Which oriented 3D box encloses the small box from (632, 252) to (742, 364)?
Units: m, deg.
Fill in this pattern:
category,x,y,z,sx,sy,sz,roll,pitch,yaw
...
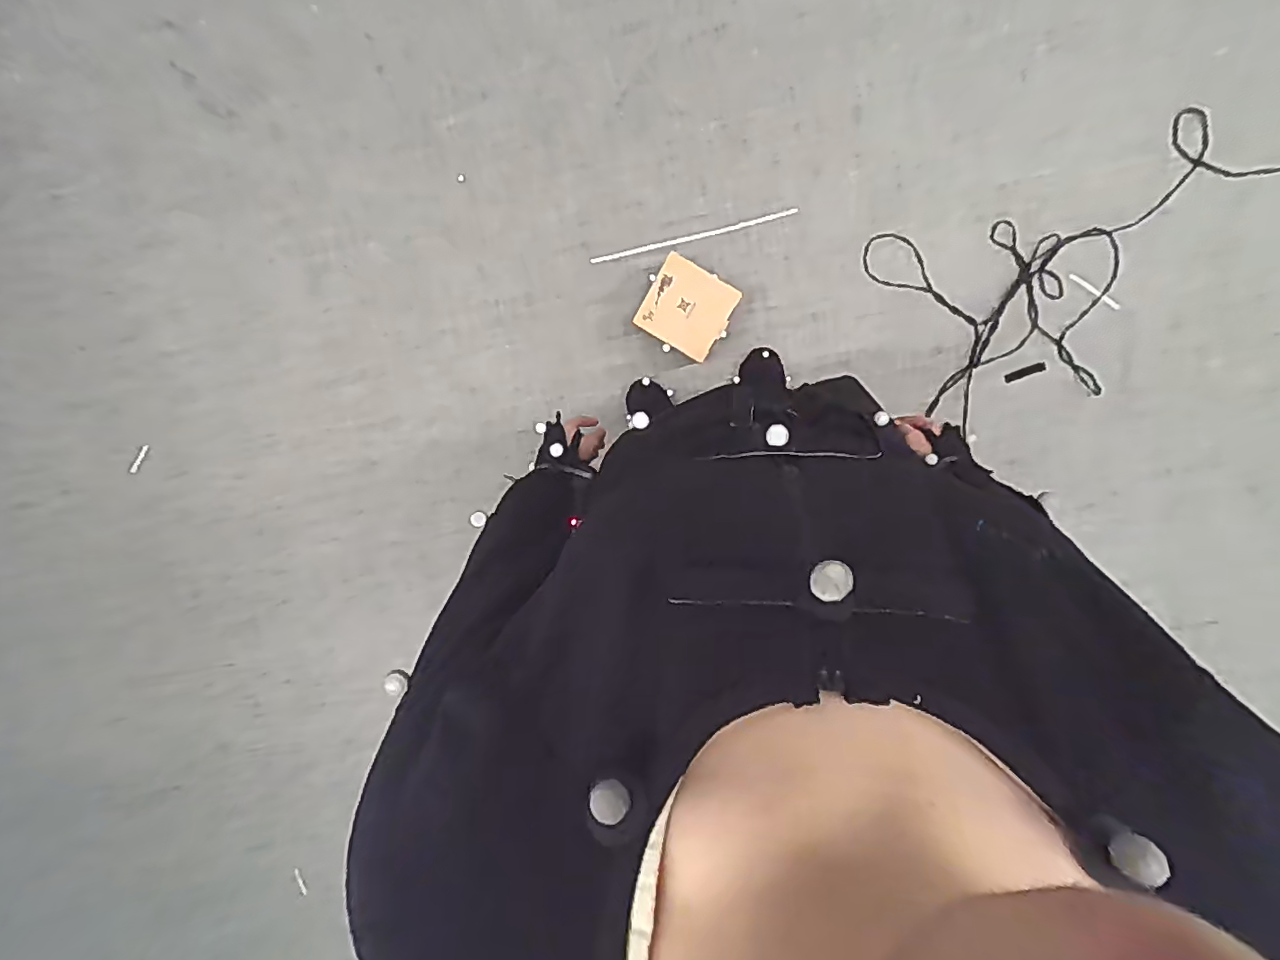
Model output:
category,x,y,z,sx,sy,sz,roll,pitch,yaw
small box,0.101,-0.375,1.198,0.179,0.176,0.168,30,103,-4
